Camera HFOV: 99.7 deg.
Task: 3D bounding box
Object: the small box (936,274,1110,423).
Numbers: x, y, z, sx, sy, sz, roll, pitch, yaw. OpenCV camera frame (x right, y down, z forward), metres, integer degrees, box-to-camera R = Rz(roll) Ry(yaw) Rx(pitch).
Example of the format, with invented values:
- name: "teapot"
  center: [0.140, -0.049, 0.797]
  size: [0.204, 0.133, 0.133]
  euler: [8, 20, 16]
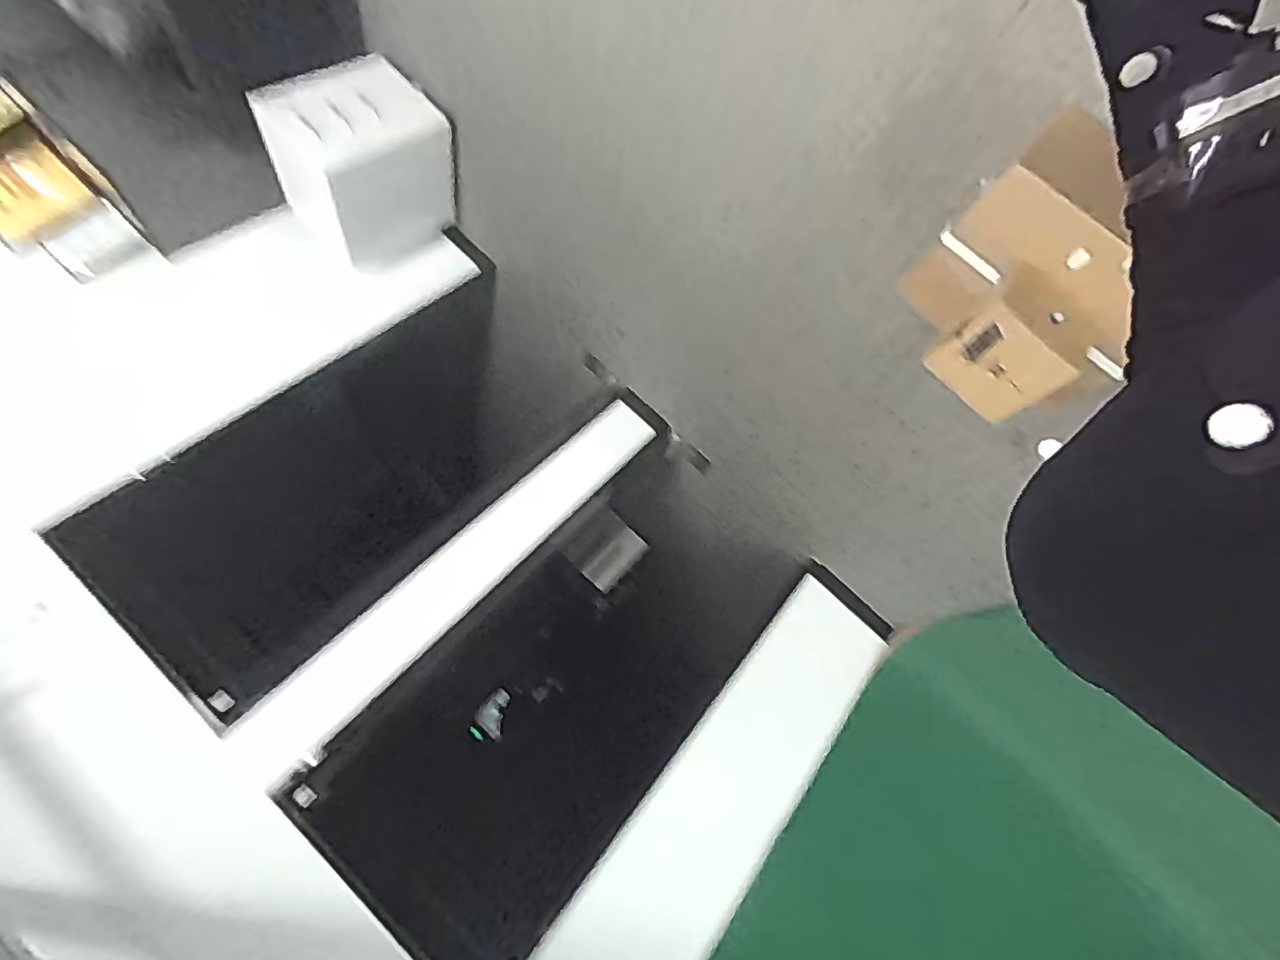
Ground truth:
- name: "small box"
  center: [0.684, -0.242, 0.970]
  size: [0.179, 0.176, 0.168]
  euler: [43, 149, 7]
